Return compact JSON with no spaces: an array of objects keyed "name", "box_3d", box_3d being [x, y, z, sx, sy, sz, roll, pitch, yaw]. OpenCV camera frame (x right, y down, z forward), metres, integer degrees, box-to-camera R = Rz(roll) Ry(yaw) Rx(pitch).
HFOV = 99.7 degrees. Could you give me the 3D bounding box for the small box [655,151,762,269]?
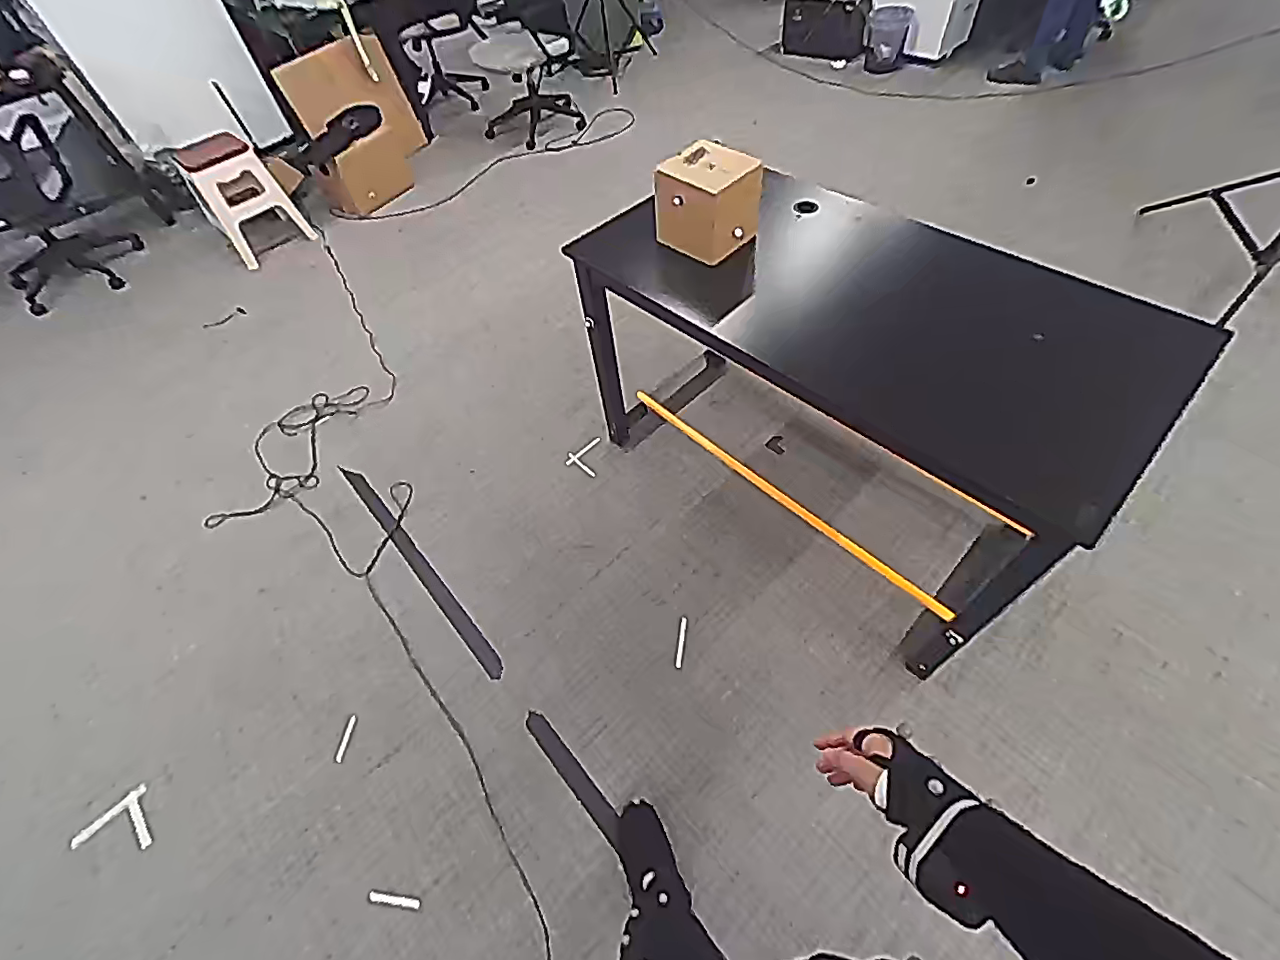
[{"name":"small box","box_3d":[0.152,-0.614,1.238,0.179,0.176,0.168,37,66,26]}]
